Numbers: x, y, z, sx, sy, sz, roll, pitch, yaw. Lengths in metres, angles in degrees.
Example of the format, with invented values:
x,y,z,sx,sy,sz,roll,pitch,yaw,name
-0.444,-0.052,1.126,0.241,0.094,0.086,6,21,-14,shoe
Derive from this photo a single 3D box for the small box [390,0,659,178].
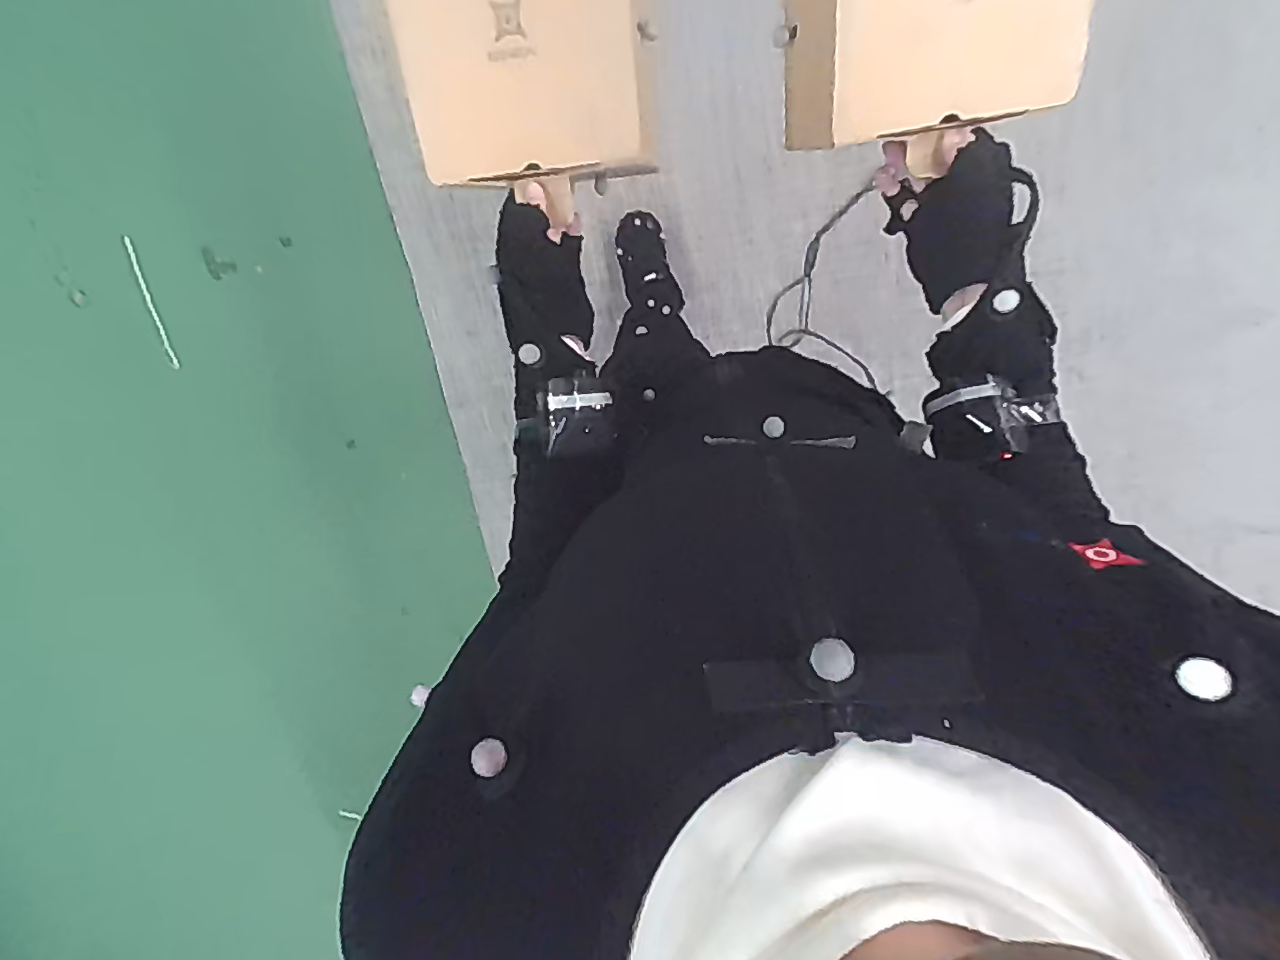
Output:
x,y,z,sx,sy,sz,roll,pitch,yaw,name
-0.077,-0.348,0.434,0.168,0.176,0.179,-2,116,8,small box
